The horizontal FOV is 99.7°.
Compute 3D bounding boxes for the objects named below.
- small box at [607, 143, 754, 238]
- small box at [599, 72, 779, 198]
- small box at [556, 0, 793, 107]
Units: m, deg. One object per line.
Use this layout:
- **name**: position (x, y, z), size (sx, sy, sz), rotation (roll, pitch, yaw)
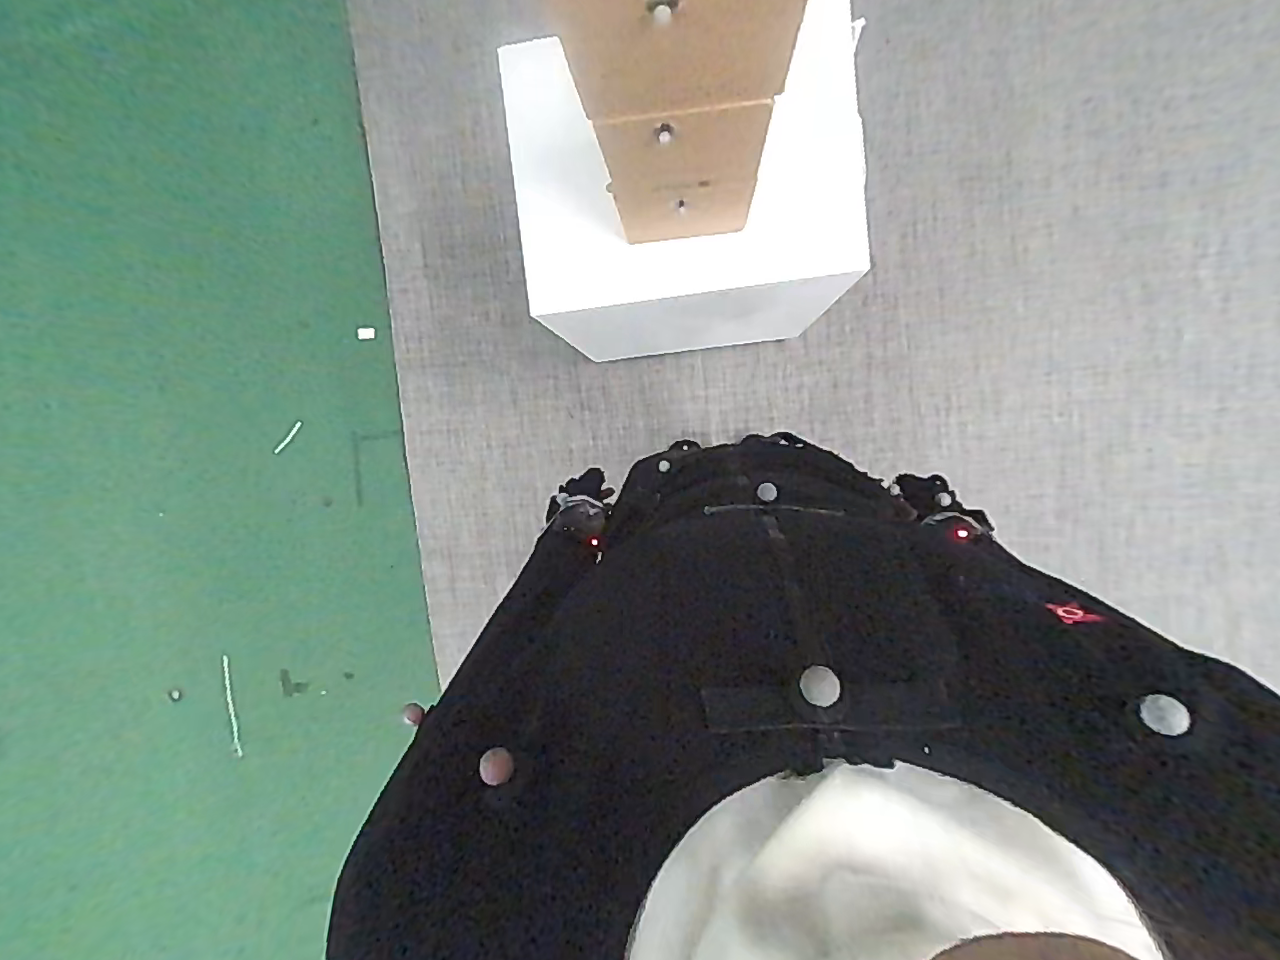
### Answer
- **small box**: position (0.053, -0.439, 0.721), size (0.179, 0.176, 0.168), rotation (-4, 95, 5)
- **small box**: position (0.042, -0.425, 0.561), size (0.168, 0.176, 0.179), rotation (-6, 95, 5)
- **small box**: position (0.023, -0.409, 0.396), size (0.179, 0.176, 0.168), rotation (-3, 95, 6)
